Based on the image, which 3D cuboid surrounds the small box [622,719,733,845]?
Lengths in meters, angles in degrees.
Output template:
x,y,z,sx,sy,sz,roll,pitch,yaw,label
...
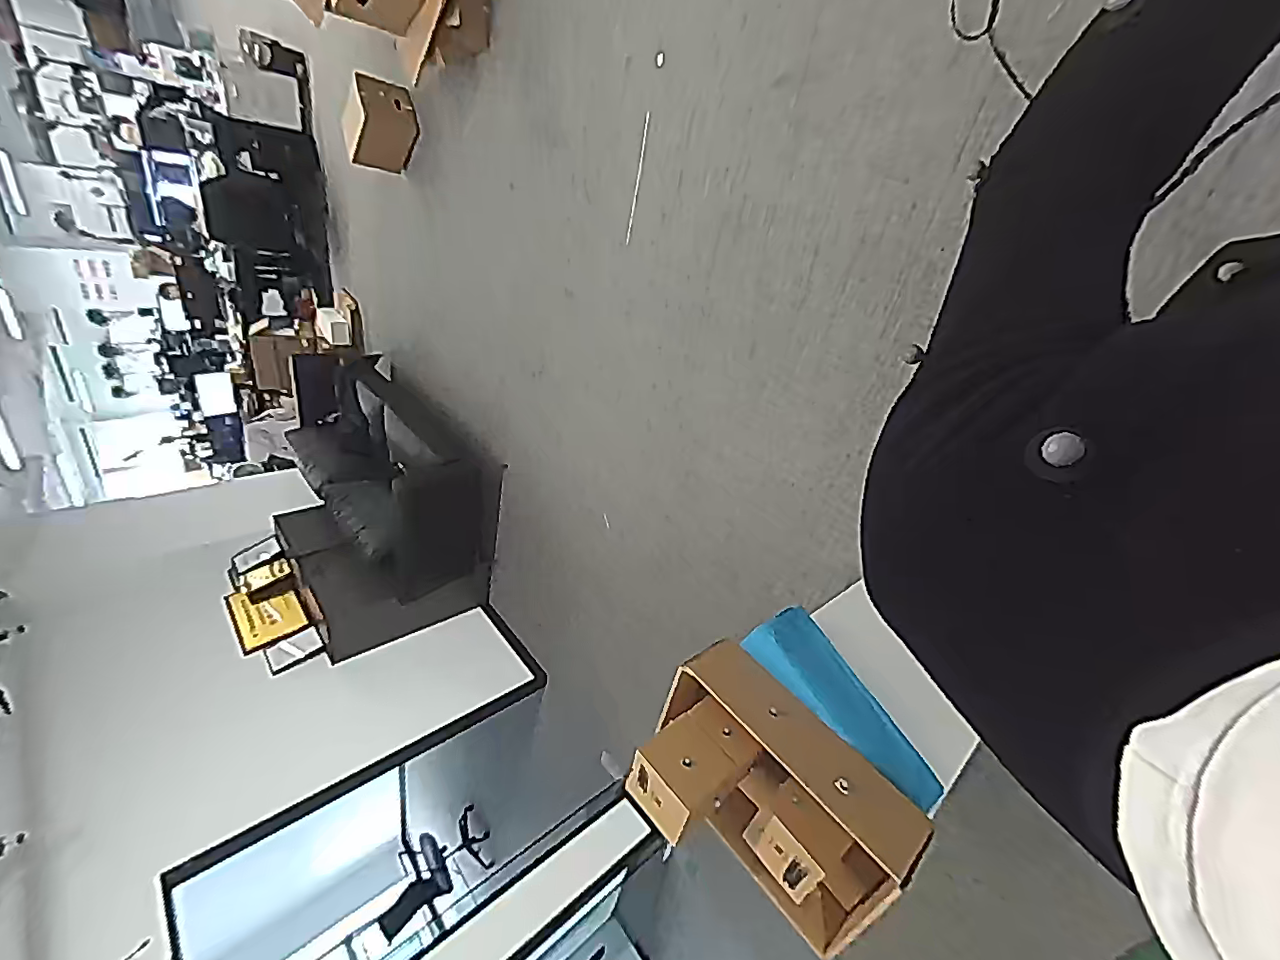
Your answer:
x,y,z,sx,sy,sz,roll,pitch,yaw,label
0.087,0.703,1.284,0.179,0.176,0.168,38,129,34,small box
